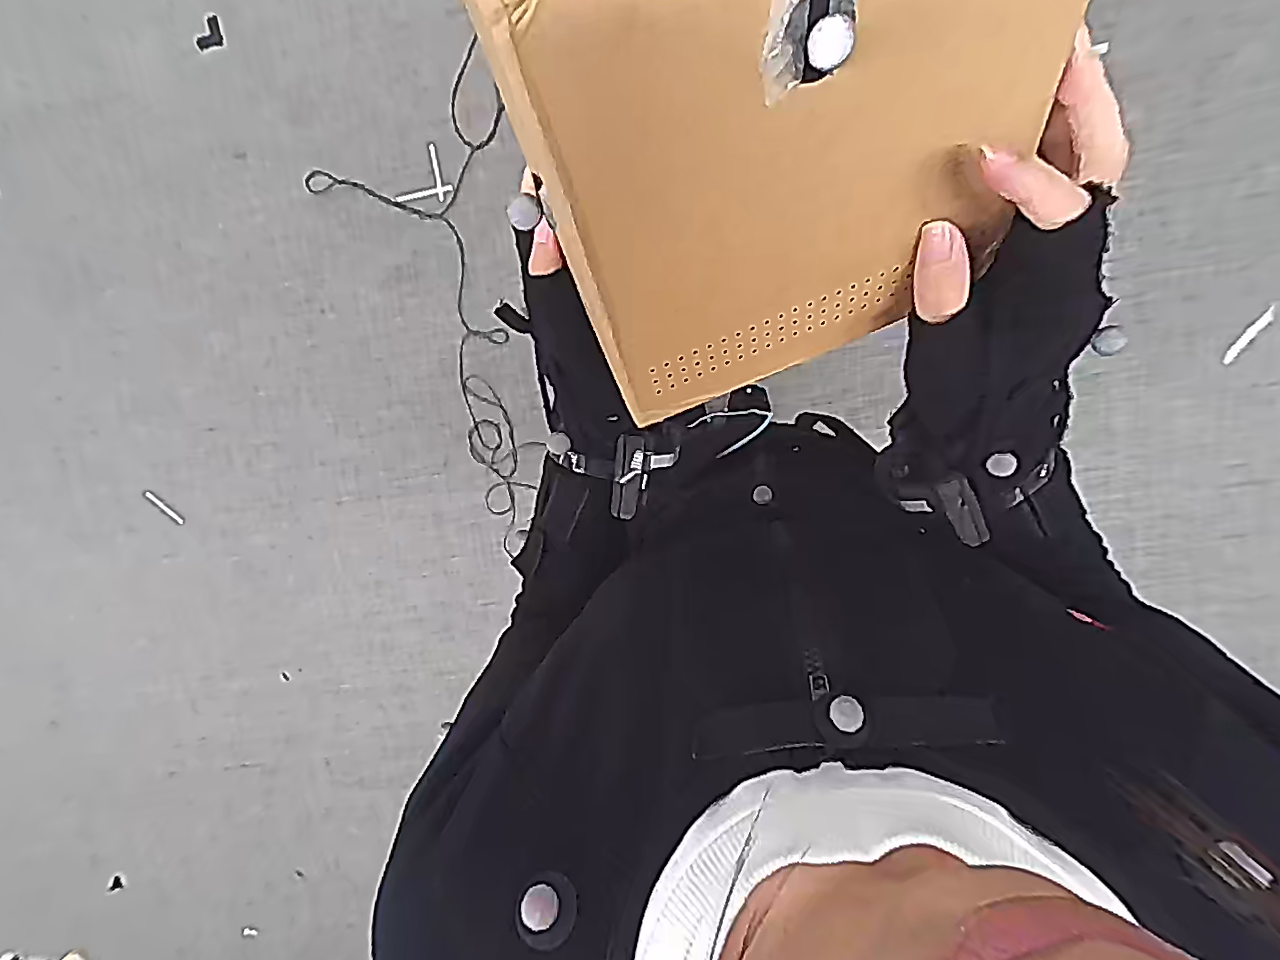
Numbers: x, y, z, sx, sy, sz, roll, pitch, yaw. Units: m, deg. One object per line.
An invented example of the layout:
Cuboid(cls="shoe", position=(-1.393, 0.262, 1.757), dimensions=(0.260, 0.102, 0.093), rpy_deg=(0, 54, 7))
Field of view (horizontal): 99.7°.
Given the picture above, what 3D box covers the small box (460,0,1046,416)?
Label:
Cuboid(cls="small box", position=(0.038, -0.157, 0.235), dimensions=(0.179, 0.176, 0.168), rpy_deg=(-22, 54, 0))
